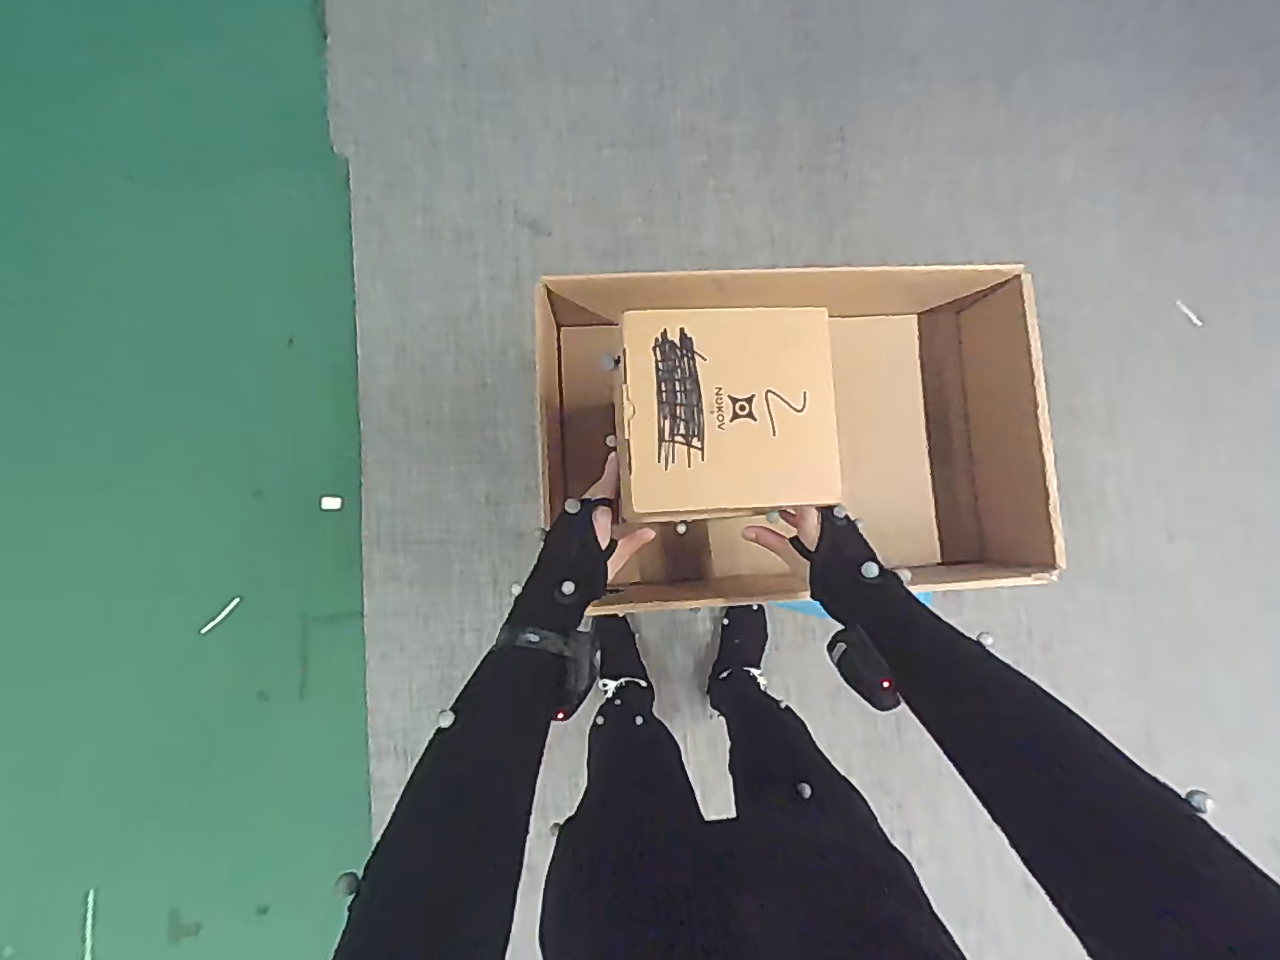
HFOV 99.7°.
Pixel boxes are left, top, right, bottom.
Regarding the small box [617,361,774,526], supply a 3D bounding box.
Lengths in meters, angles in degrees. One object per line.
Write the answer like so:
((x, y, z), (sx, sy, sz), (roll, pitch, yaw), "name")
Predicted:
((0.058, -0.036, 0.679), (0.168, 0.176, 0.179), (-4, 84, -3), "small box")
